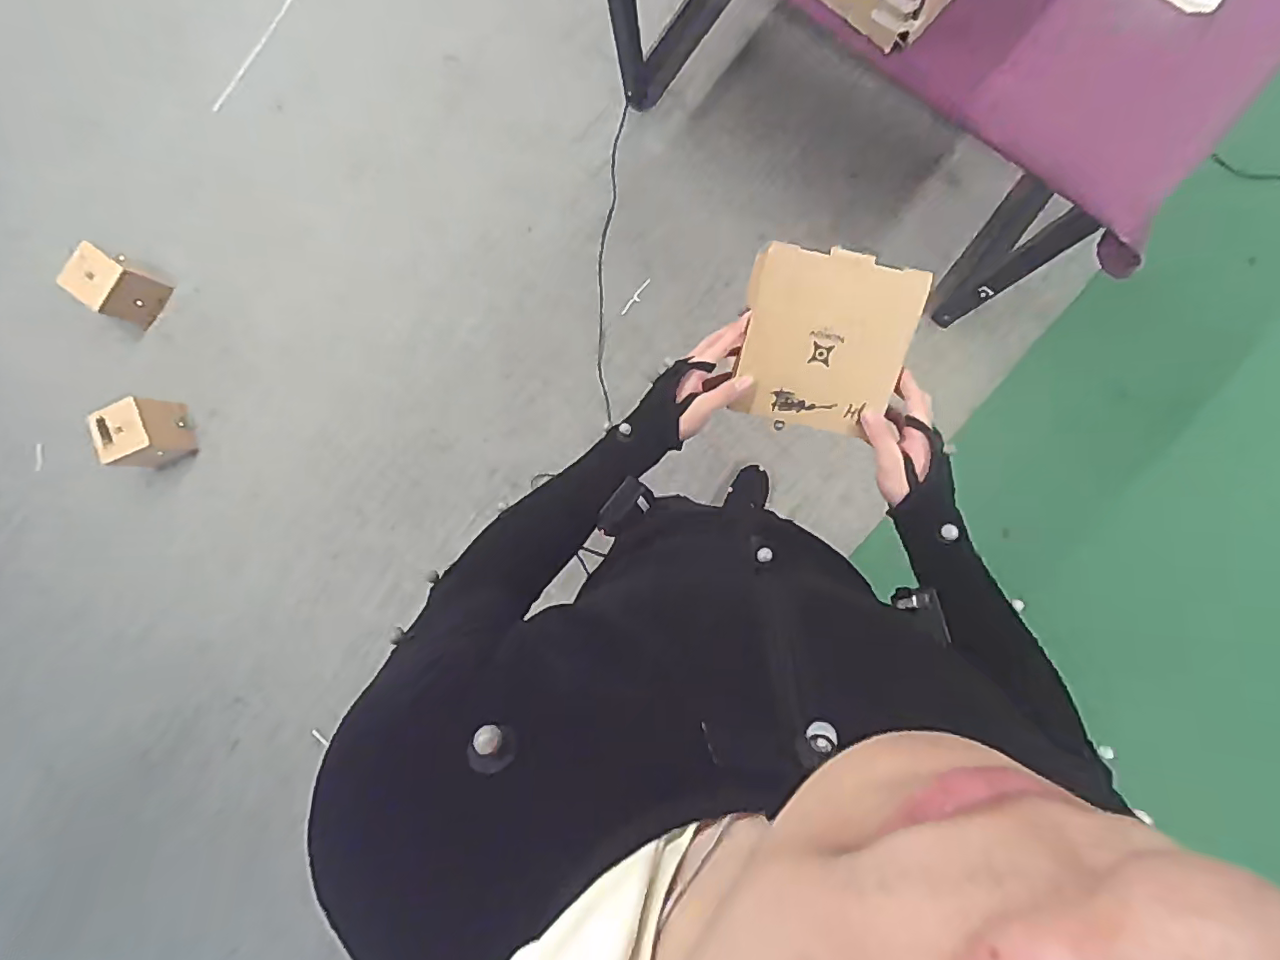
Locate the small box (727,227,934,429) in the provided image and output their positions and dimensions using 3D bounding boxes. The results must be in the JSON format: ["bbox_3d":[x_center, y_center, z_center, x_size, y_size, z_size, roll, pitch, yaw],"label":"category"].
[{"bbox_3d":[0.200,-0.178,0.630,0.168,0.176,0.179,13,111,3],"label":"small box"}]

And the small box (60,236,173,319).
[{"bbox_3d":[-1.680,-0.642,1.747,0.179,0.176,0.168,36,93,5],"label":"small box"}]
